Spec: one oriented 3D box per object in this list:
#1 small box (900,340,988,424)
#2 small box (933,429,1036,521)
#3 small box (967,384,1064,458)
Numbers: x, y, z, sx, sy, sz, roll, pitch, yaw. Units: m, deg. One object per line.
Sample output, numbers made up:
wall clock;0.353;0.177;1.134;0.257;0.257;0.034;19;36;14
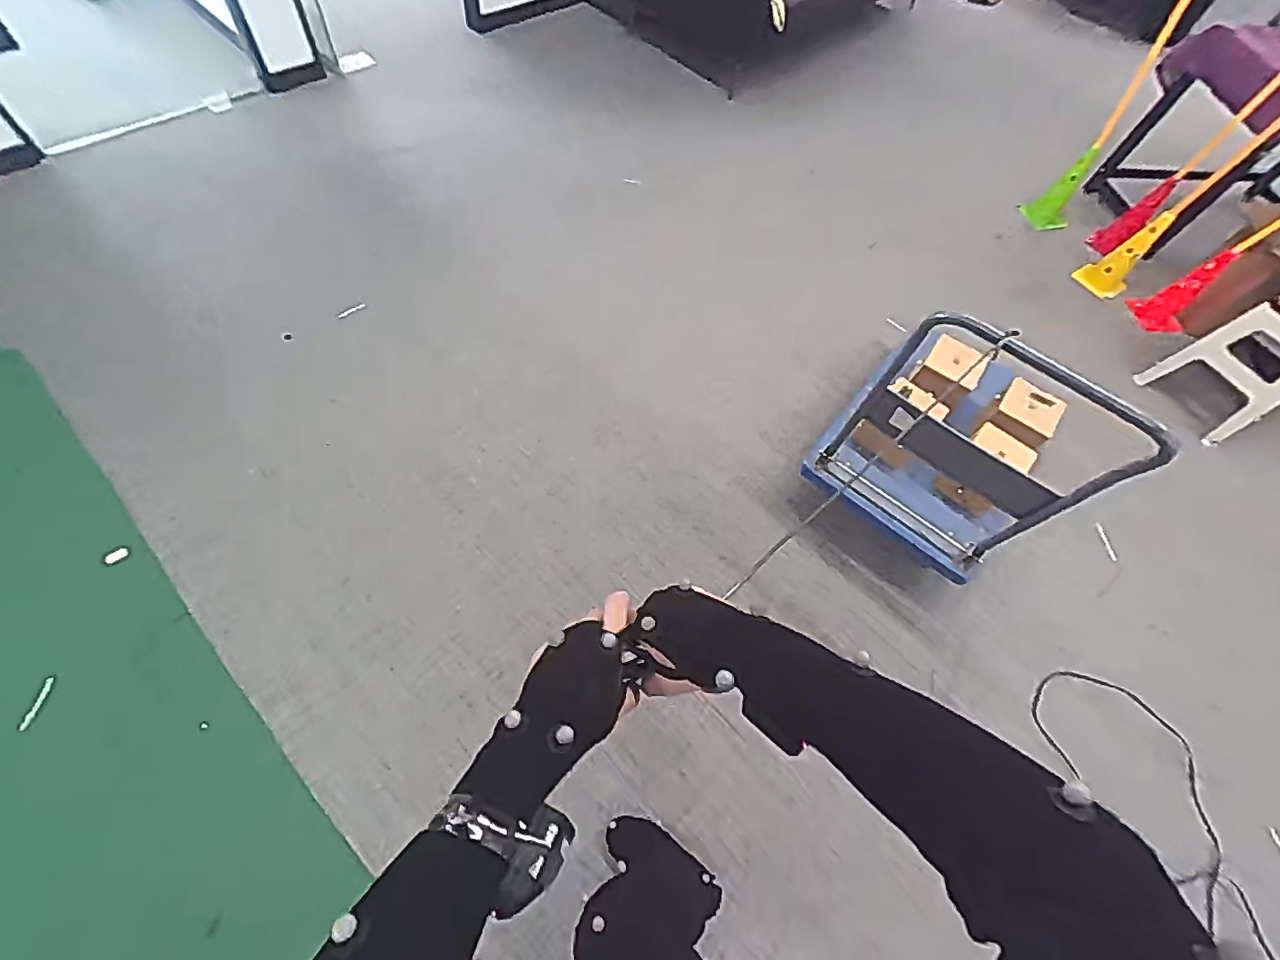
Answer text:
small box;0.991;-0.316;1.778;0.168;0.176;0.179;35;63;12
small box;1.017;-0.011;1.610;0.168;0.176;0.179;40;64;16
small box;1.184;-0.164;1.715;0.168;0.176;0.179;37;64;15
